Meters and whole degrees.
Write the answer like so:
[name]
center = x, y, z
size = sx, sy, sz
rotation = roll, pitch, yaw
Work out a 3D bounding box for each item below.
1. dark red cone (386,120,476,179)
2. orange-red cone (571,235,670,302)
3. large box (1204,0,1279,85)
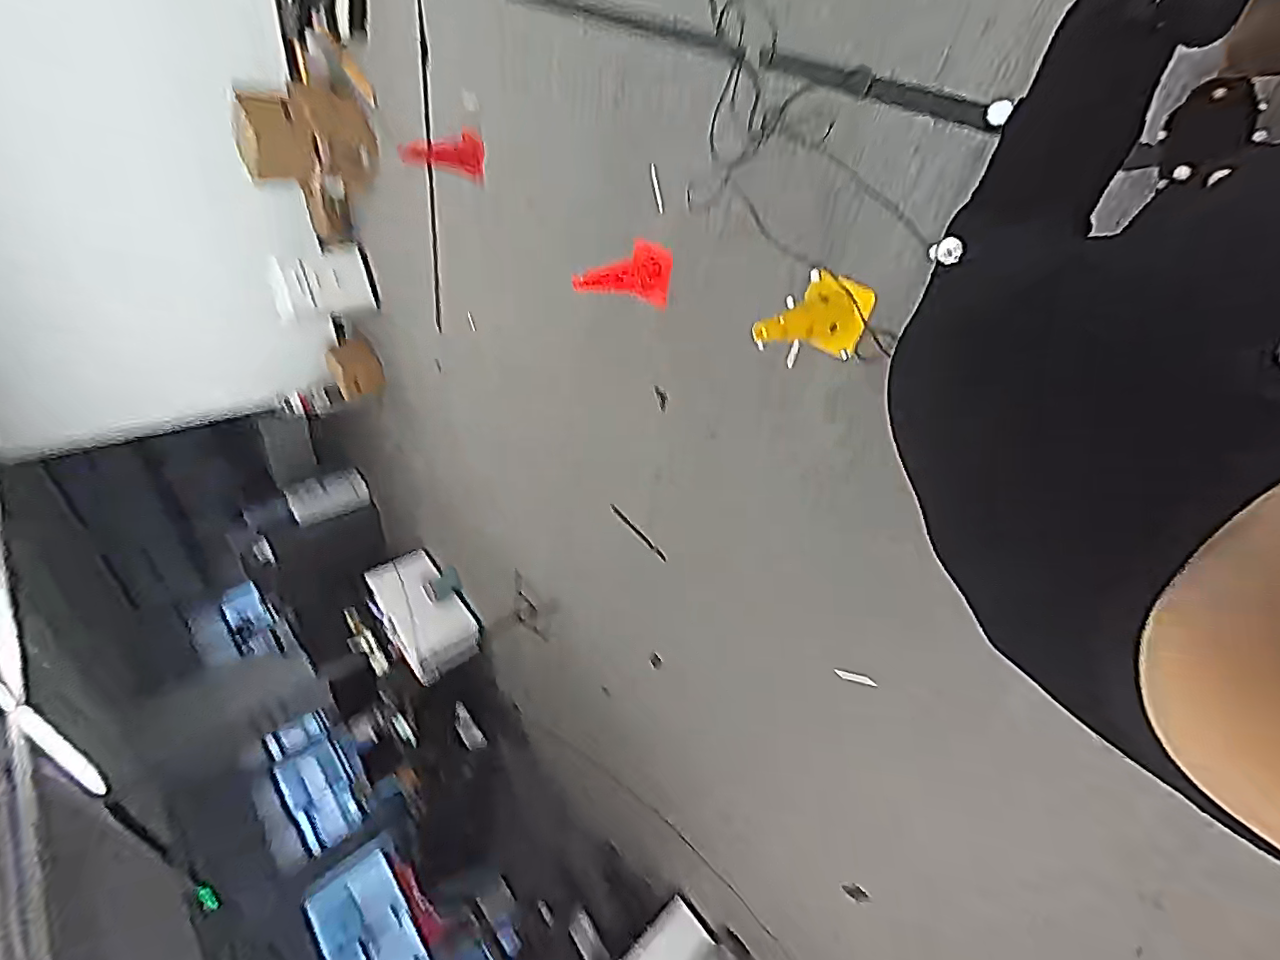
[dark red cone]
center = -0.952, -1.519, 2.465
size = 0.202, 0.394, 0.201
rotation = 45, 137, 24
[orange-red cone]
center = -0.091, -0.725, 1.900
size = 0.199, 0.360, 0.198
rotation = 38, 135, 30
[large box]
center = 0.596, -0.413, 0.245
size = 0.408, 0.320, 0.320
rotation = 25, 125, 37
